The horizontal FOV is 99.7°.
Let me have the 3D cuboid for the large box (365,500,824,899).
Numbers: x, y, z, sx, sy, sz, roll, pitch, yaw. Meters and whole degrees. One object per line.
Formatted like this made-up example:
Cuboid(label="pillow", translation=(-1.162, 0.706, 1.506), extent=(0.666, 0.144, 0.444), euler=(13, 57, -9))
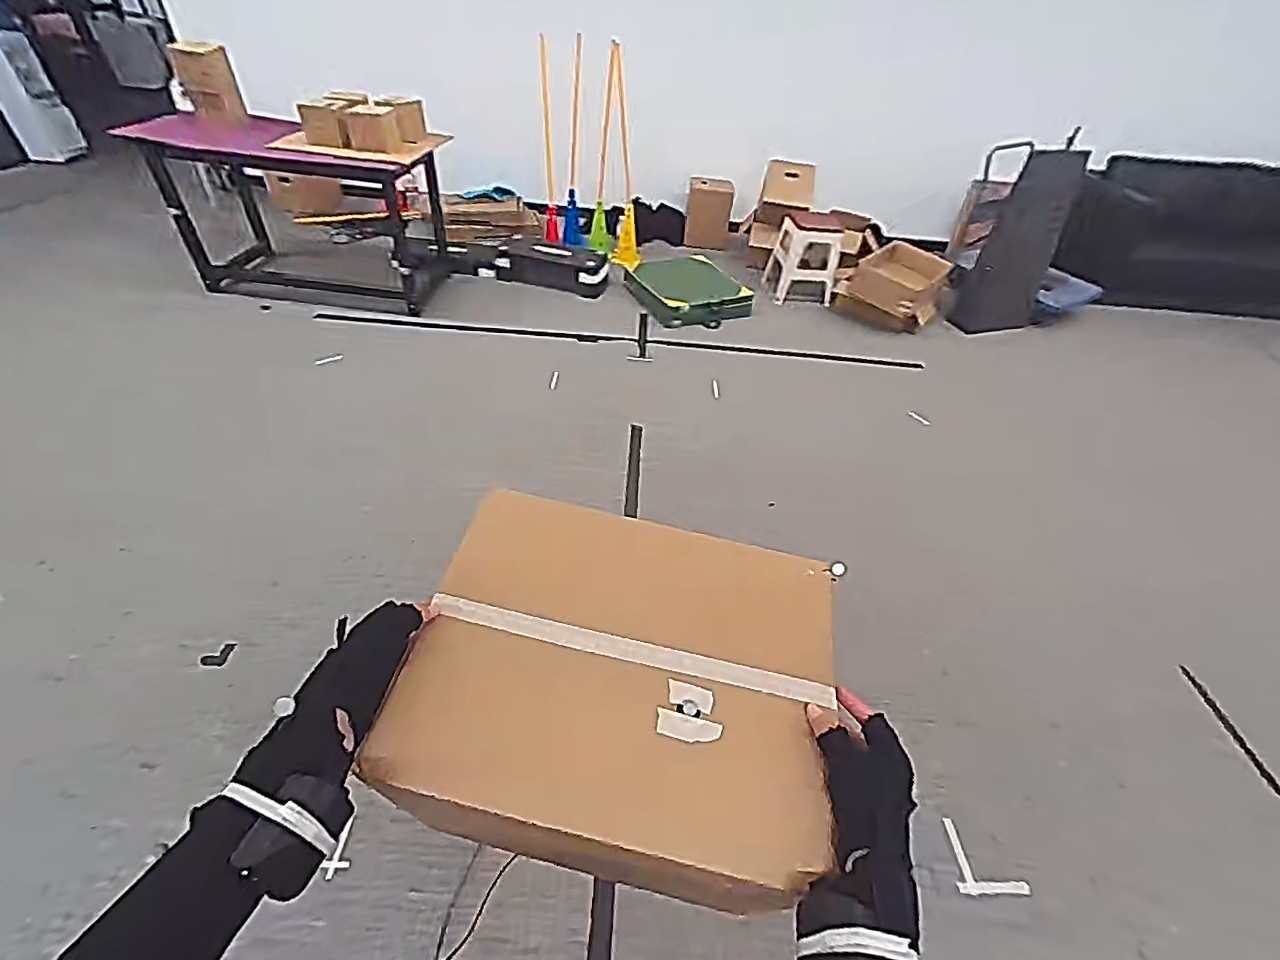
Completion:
Cuboid(label="large box", translation=(-0.031, 0.269, 0.658), extent=(0.408, 0.320, 0.320), euler=(13, 51, 3))
